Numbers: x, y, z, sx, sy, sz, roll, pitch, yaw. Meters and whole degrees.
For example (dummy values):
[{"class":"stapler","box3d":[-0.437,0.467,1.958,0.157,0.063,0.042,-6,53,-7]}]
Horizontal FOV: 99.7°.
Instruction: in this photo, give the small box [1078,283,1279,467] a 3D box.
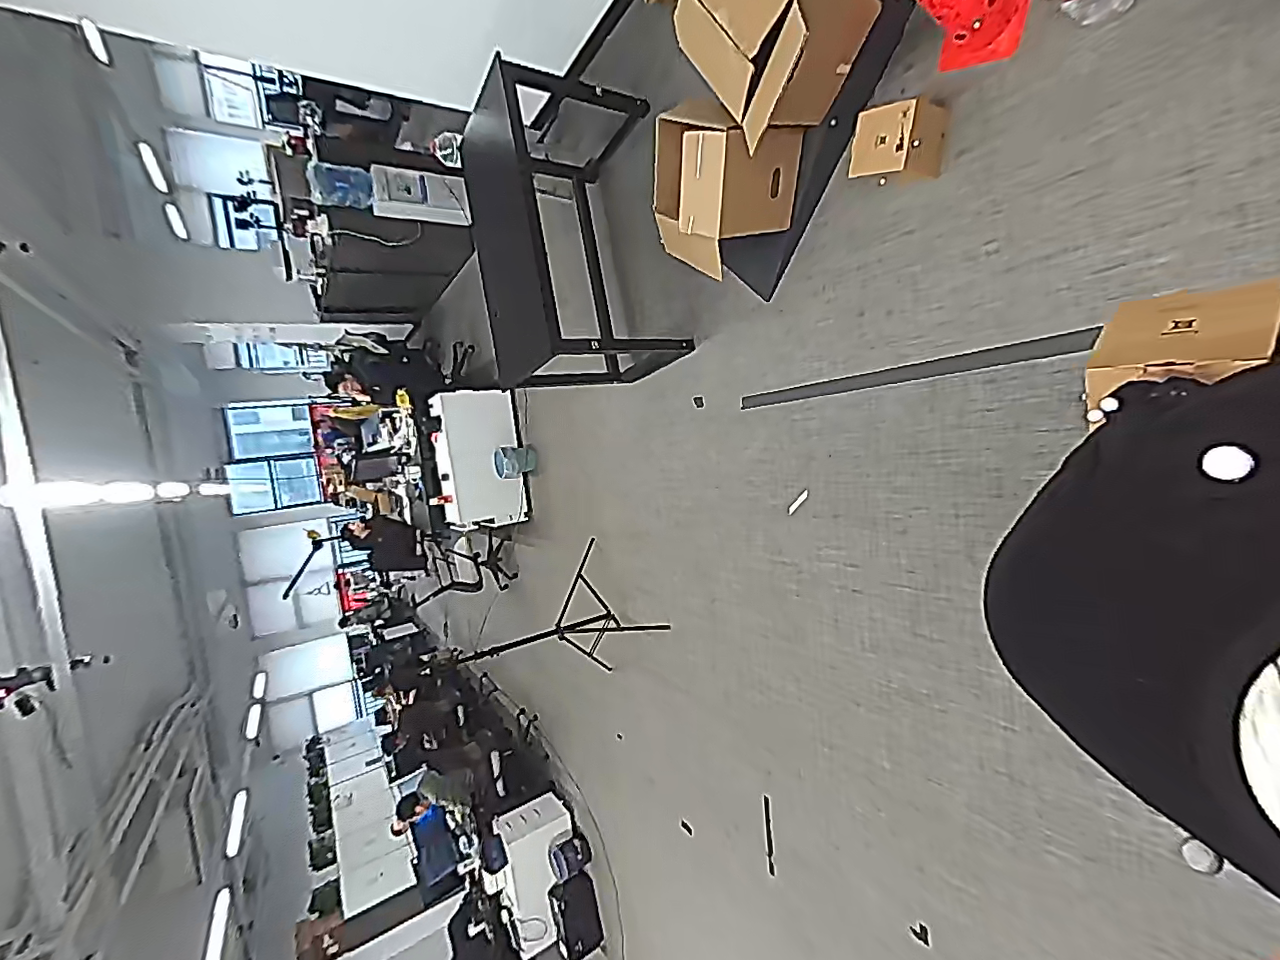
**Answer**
[{"class":"small box","box3d":[0.732,-0.136,0.737,0.168,0.179,0.176,10,139,51]}]
